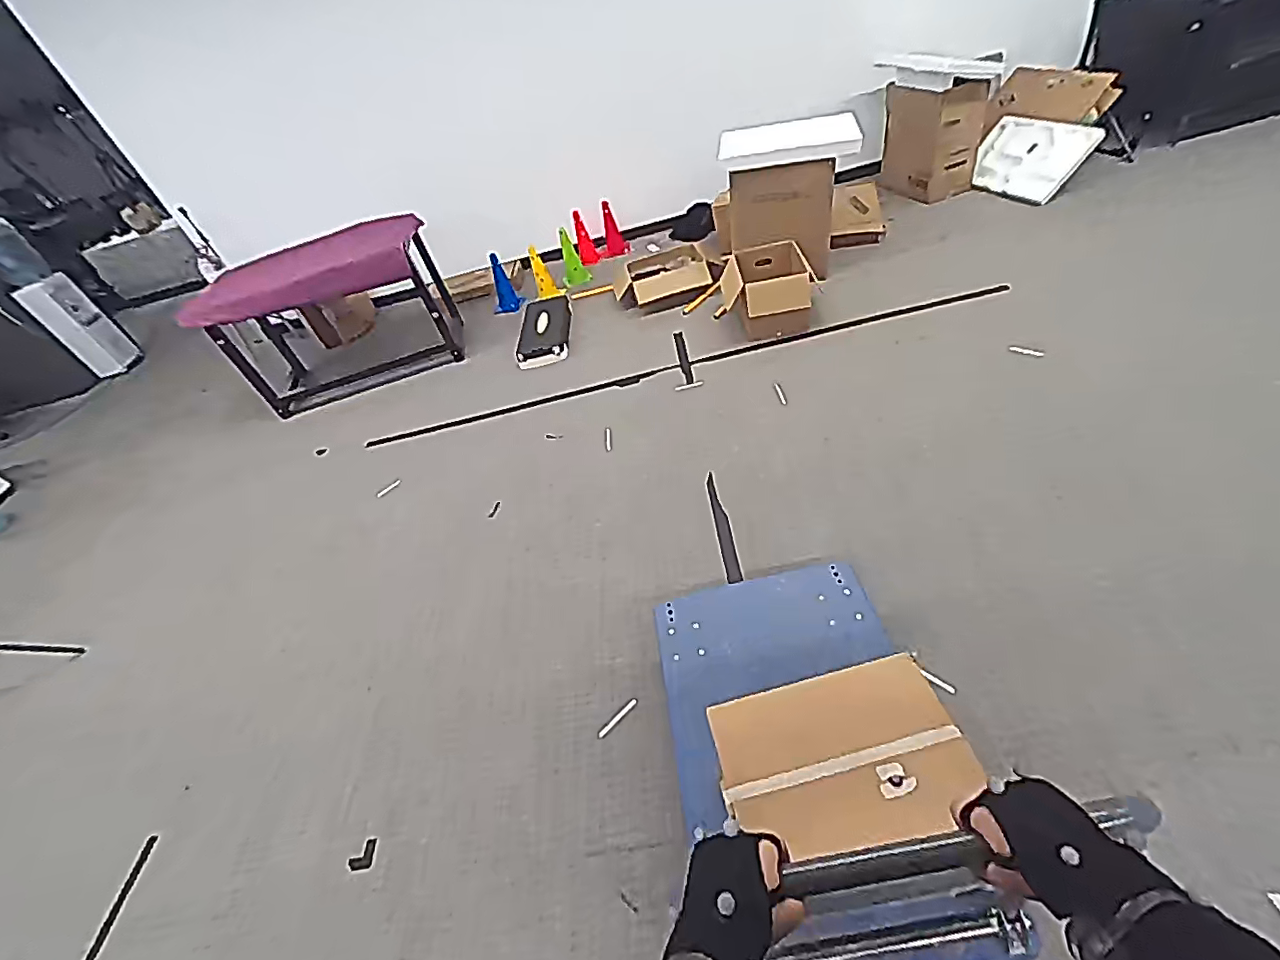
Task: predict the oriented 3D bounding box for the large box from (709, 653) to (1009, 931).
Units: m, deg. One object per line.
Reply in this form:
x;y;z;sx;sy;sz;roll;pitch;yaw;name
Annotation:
0.379;0.594;1.031;0.408;0.320;0.320;-16;43;0;large box
